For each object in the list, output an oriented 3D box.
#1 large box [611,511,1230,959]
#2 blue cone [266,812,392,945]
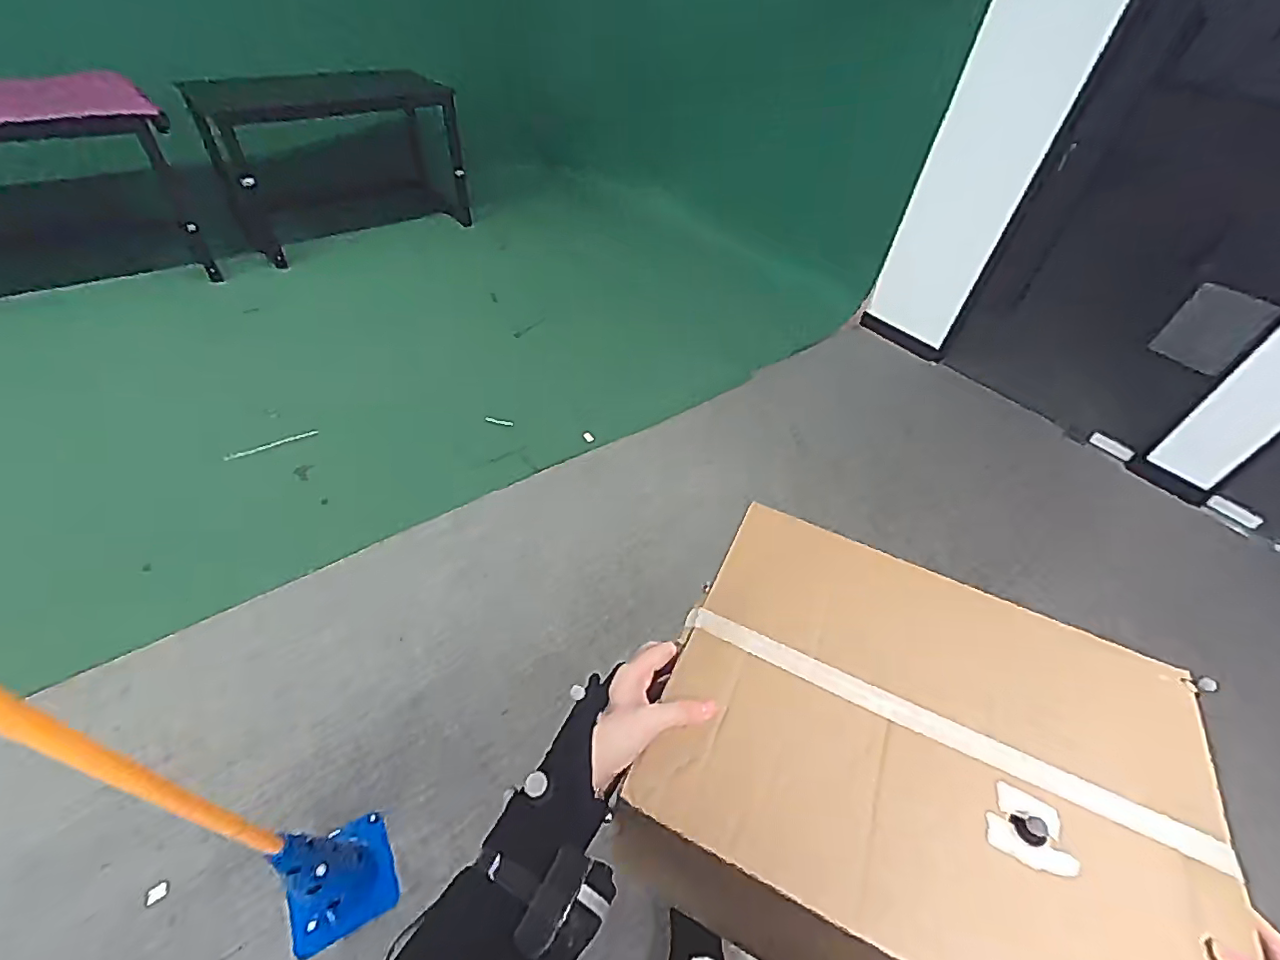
[{"bbox_3d":[0.218,0.298,0.549,0.408,0.320,0.320,22,49,14],"label":"large box"},{"bbox_3d":[-0.625,0.729,1.037,0.193,0.380,0.192,-18,49,-23],"label":"blue cone"}]
